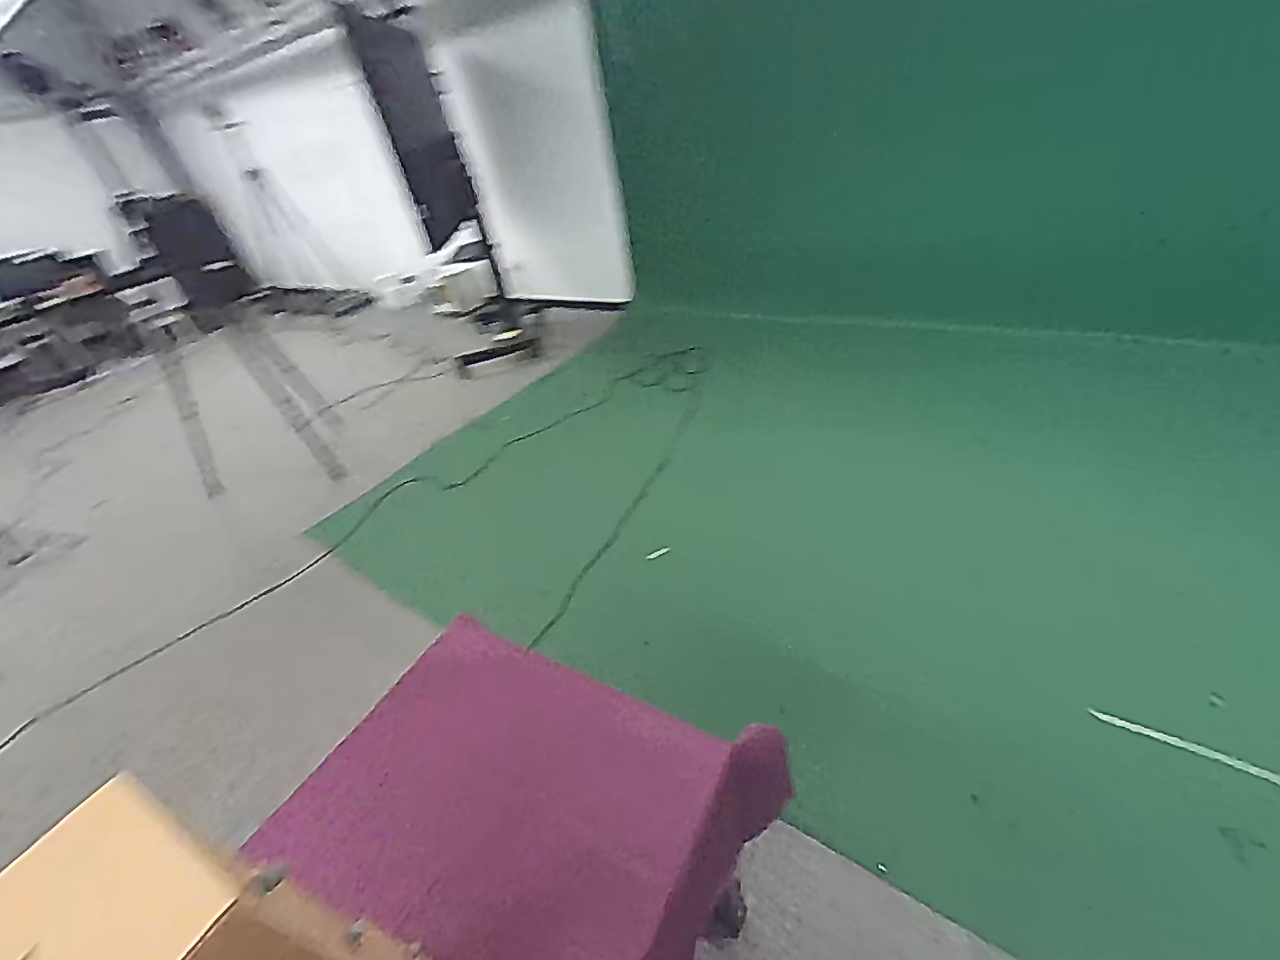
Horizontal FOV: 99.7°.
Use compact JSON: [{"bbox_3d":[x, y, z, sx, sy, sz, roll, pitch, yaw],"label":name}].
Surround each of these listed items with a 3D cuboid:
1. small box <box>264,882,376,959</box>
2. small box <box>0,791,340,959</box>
[{"bbox_3d":[-0.283,0.469,0.421,0.179,0.176,0.168,9,41,30],"label":"small box"},{"bbox_3d":[-0.317,0.341,0.327,0.168,0.176,0.179,9,42,29],"label":"small box"}]
